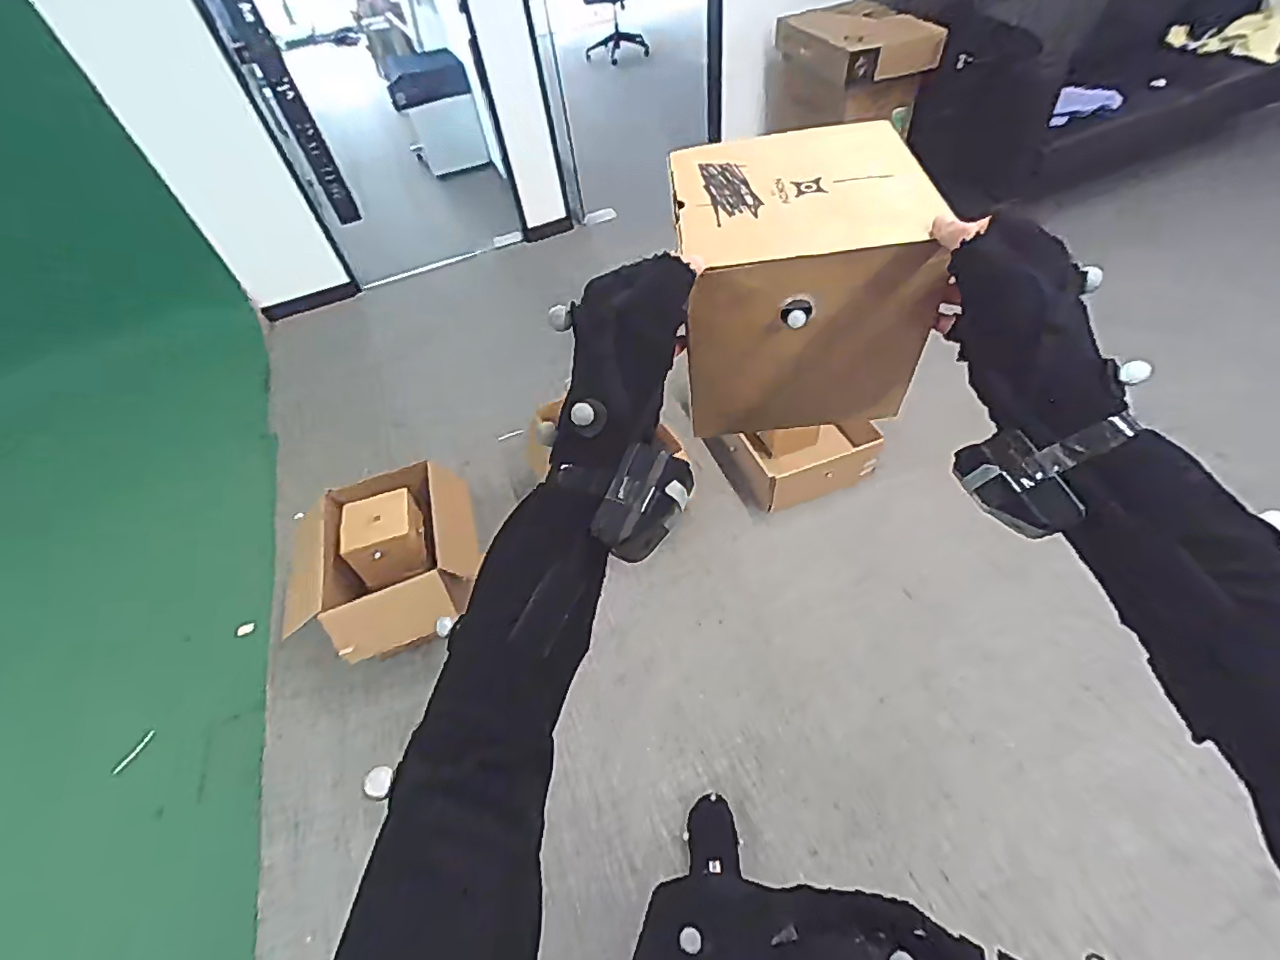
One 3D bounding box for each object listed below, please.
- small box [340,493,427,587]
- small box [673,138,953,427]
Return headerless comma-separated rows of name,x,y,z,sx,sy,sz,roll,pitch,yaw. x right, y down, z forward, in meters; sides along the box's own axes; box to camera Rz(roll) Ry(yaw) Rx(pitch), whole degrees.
small box,-0.701,0.168,1.497,0.179,0.176,0.168,-16,50,-9
small box,0.125,-0.160,0.464,0.179,0.176,0.168,-4,53,4
